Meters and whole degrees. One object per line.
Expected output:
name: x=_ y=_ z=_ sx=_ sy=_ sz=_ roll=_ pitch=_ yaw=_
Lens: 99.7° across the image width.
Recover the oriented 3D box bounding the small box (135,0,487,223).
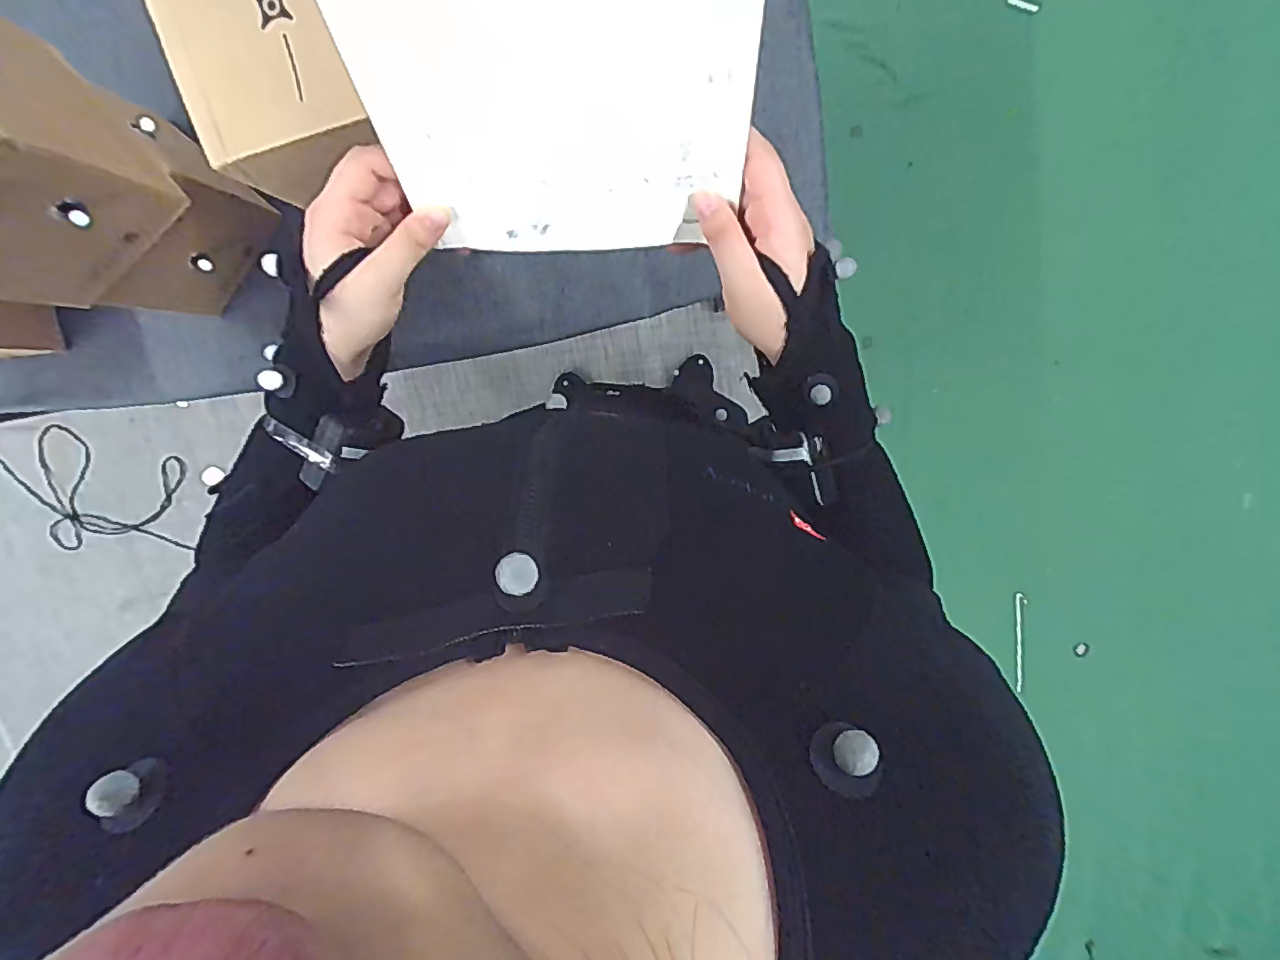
small box: x=-0.241 y=-0.331 z=0.425 sx=0.168 sy=0.176 sz=0.179 roll=-13 pitch=102 yaw=5

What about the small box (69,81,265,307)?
small box: x=-0.578 y=-0.312 z=0.603 sx=0.179 sy=0.176 sz=0.168 roll=39 pitch=100 yaw=-7

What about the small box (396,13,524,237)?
small box: x=-0.242 y=-0.381 z=0.582 sx=0.179 sy=0.176 sz=0.168 roll=19 pitch=102 yaw=-2

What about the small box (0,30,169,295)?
small box: x=-0.562 y=-0.272 z=0.445 sx=0.168 sy=0.176 sz=0.179 roll=-38 pitch=99 yaw=7
